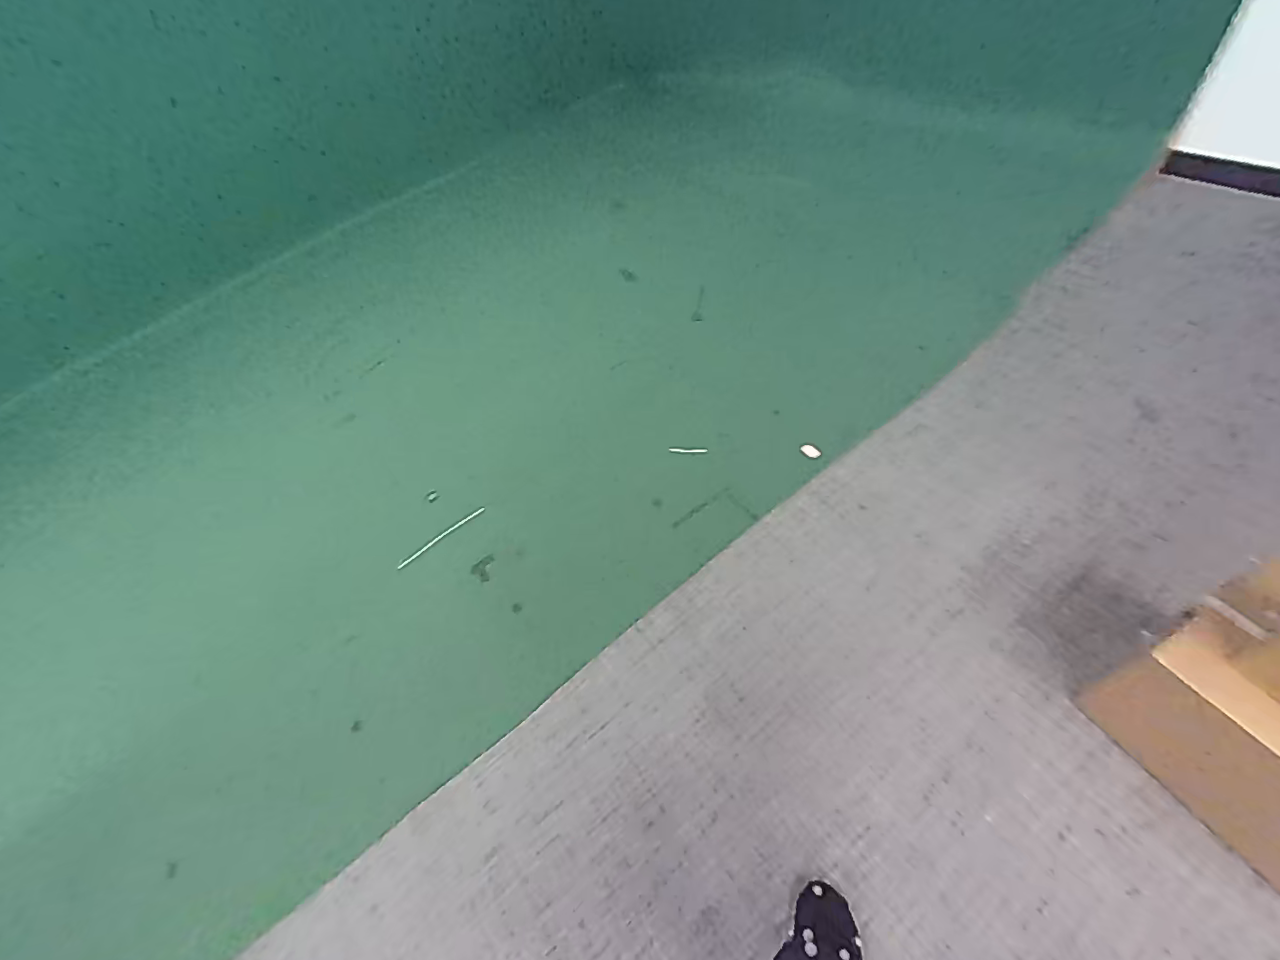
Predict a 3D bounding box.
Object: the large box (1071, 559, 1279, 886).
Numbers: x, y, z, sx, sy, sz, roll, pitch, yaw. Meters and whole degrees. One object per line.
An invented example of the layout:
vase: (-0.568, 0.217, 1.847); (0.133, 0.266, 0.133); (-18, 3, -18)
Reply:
large box: (1.086, 0.419, 0.917); (0.320, 0.320, 0.408); (-33, 54, -9)

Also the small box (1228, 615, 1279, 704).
small box: (1.011, 0.255, 0.749); (0.168, 0.176, 0.179); (-31, 52, -11)
